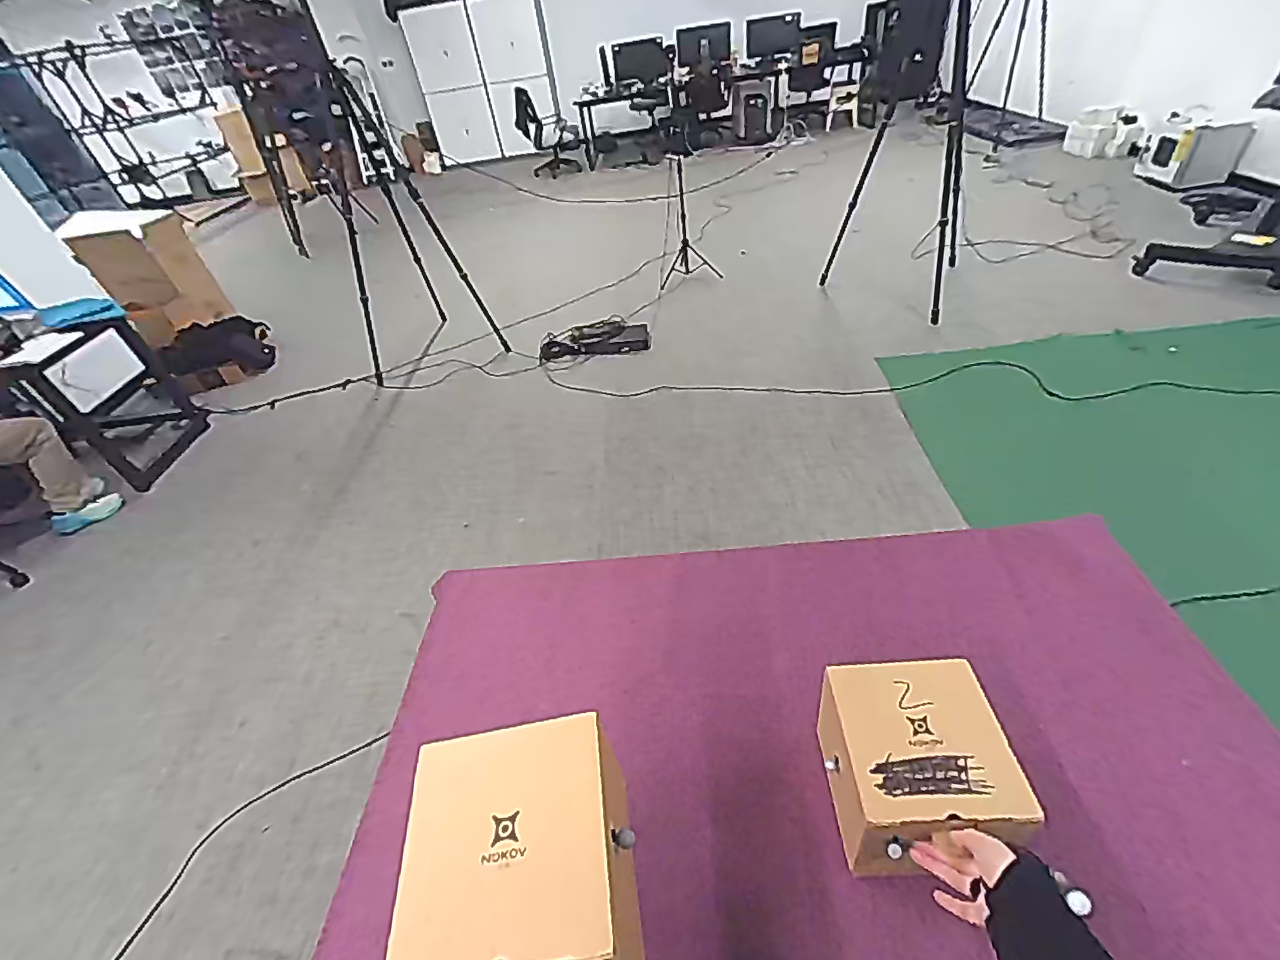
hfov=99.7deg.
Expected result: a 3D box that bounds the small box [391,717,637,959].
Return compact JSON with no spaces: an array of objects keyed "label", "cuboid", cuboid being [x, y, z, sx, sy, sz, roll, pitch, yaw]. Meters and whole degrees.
[{"label":"small box","cuboid":[-0.101,0.353,0.500,0.168,0.176,0.179,-11,42,-1]}]
